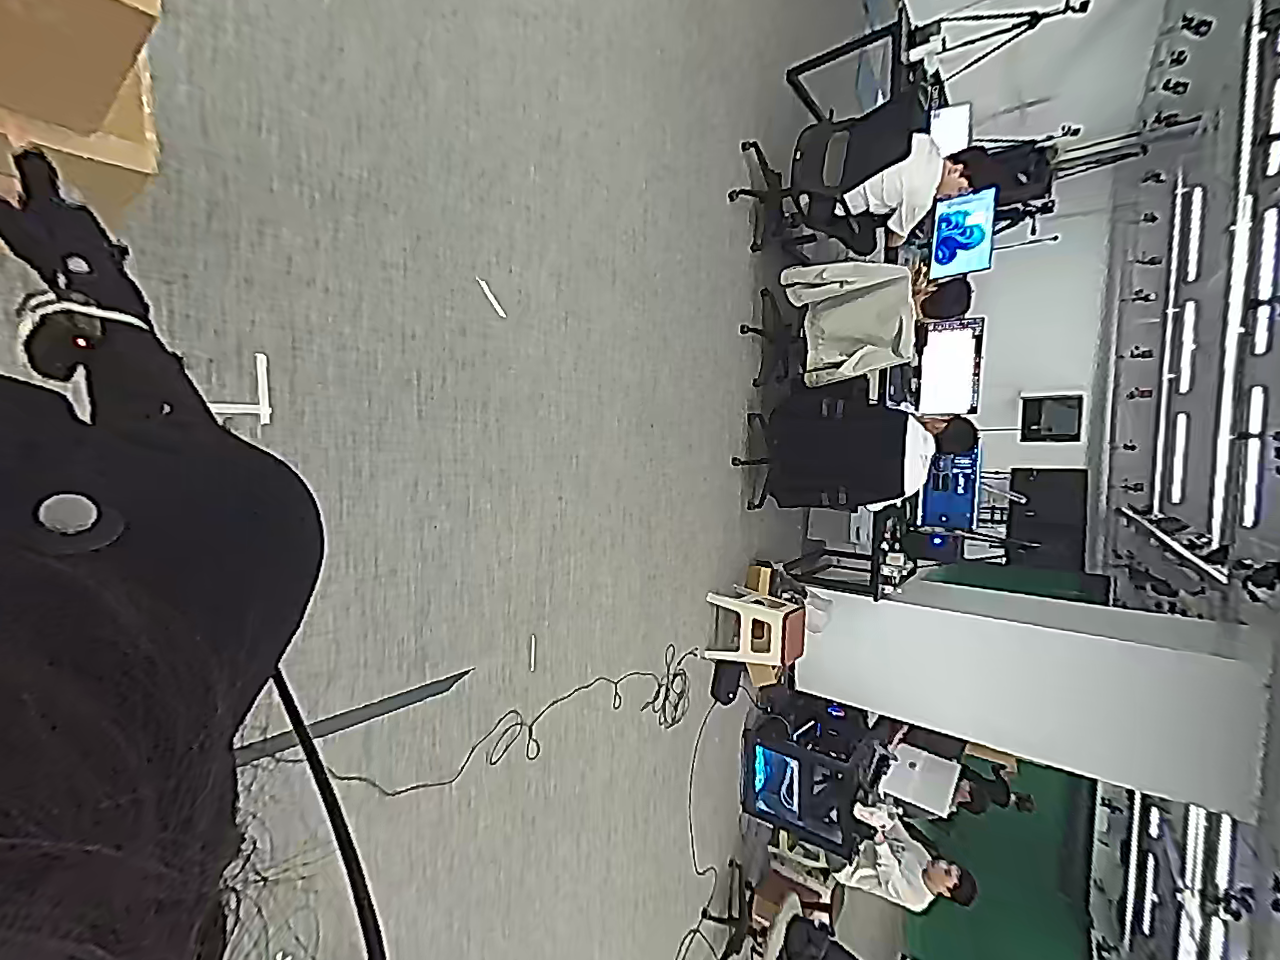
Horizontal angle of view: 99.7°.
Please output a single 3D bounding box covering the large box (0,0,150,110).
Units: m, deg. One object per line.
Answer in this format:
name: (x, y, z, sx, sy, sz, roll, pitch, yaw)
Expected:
large box: (-0.677, -0.576, 0.403, 0.408, 0.320, 0.320, -6, 99, -54)
